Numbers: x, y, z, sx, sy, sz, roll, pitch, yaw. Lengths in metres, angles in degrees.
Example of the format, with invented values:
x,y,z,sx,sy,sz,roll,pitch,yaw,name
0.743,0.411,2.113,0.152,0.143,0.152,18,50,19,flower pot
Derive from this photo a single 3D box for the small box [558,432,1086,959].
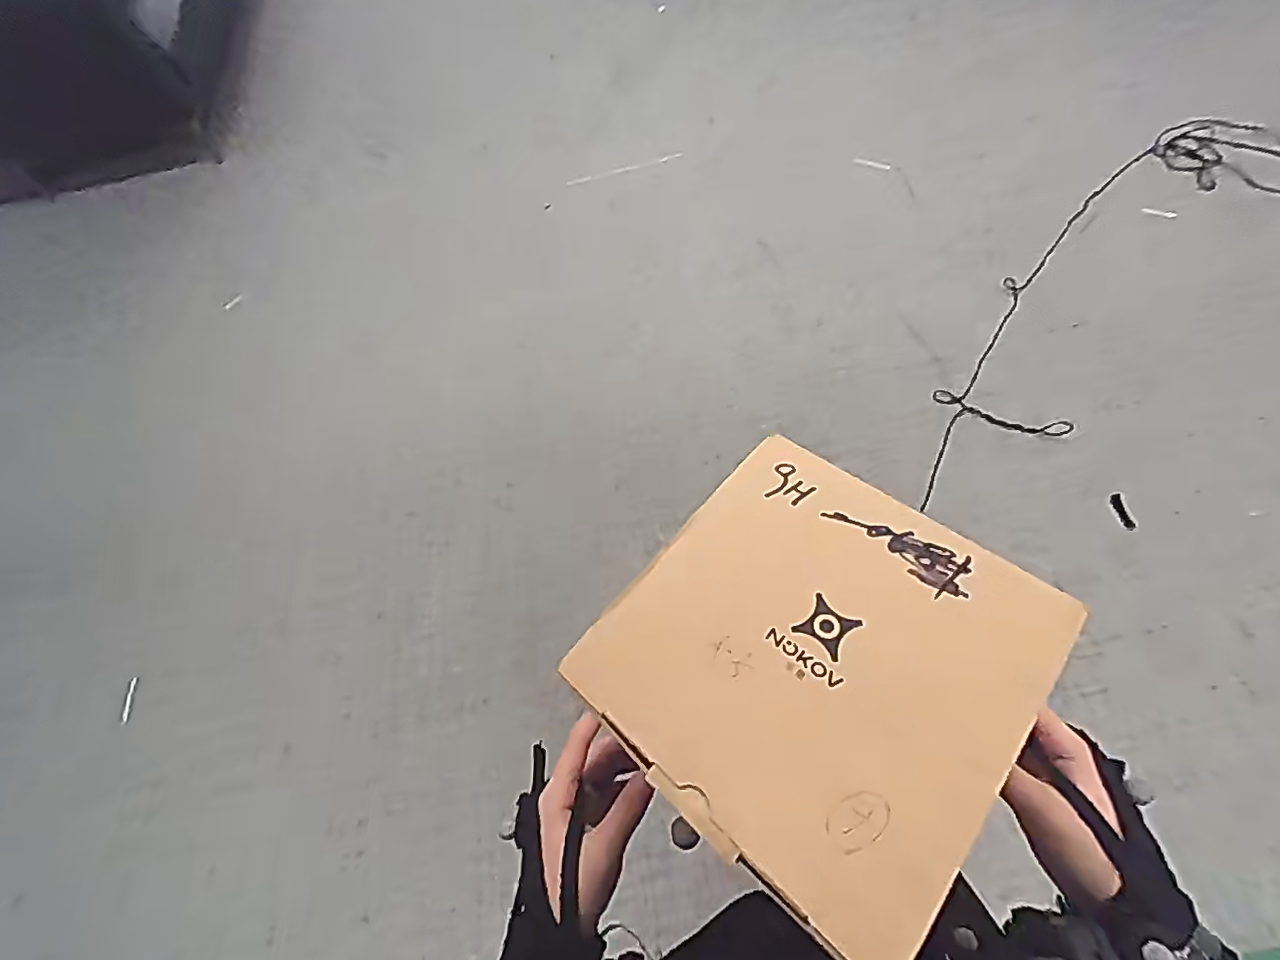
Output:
x,y,z,sx,sy,sz,roll,pitch,yaw,name
0.088,0.114,0.307,0.168,0.176,0.179,36,69,28,small box
